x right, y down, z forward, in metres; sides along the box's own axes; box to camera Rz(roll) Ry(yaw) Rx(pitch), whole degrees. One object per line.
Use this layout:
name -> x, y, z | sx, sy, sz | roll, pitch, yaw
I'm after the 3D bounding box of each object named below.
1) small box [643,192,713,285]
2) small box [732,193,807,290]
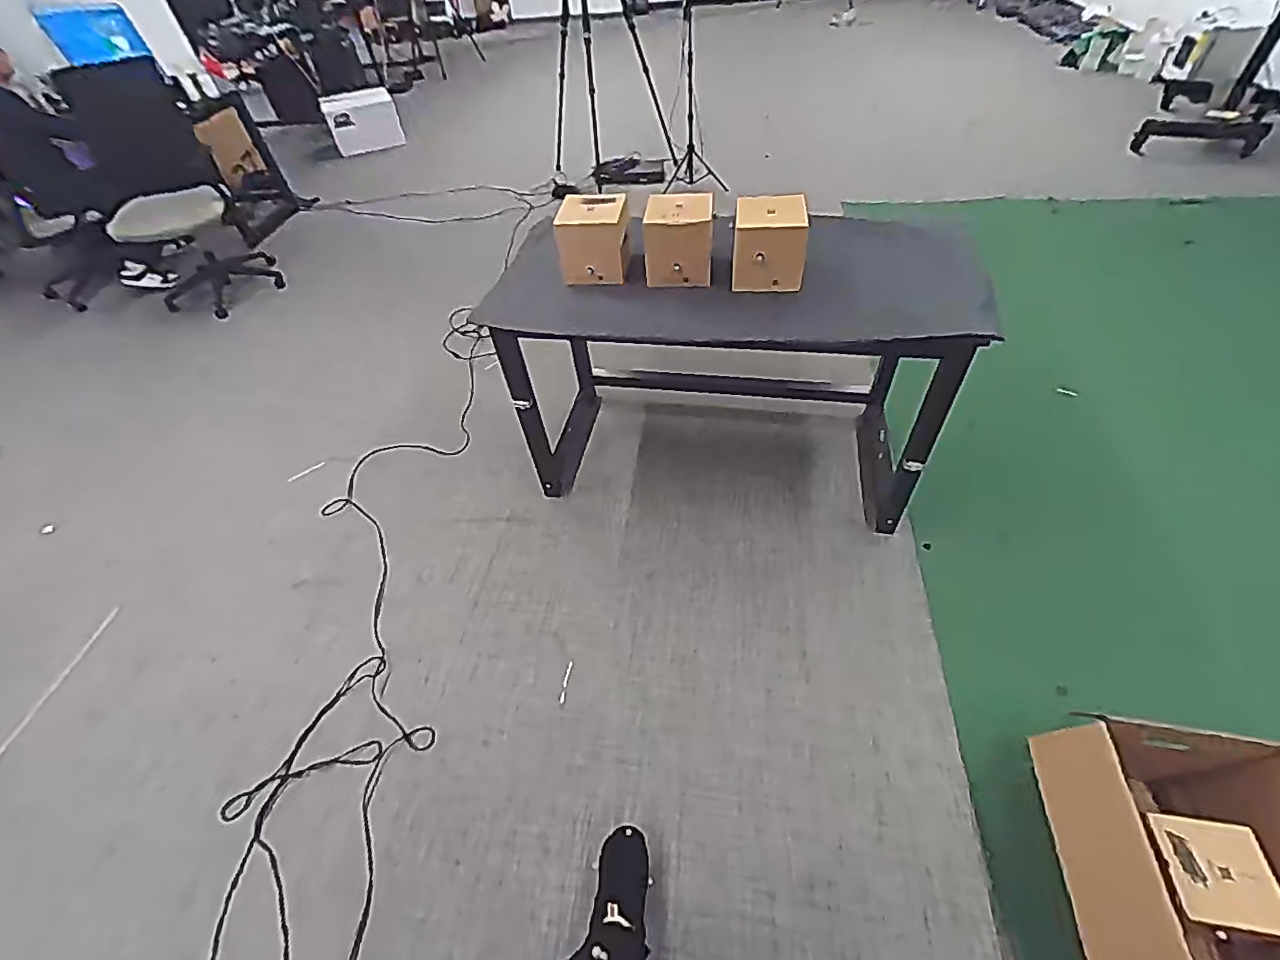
small box -> 0.102, -0.623, 1.396 | 0.168, 0.176, 0.179 | 2, 49, 8
small box -> 0.318, -0.590, 1.347 | 0.168, 0.176, 0.179 | 3, 48, 8
